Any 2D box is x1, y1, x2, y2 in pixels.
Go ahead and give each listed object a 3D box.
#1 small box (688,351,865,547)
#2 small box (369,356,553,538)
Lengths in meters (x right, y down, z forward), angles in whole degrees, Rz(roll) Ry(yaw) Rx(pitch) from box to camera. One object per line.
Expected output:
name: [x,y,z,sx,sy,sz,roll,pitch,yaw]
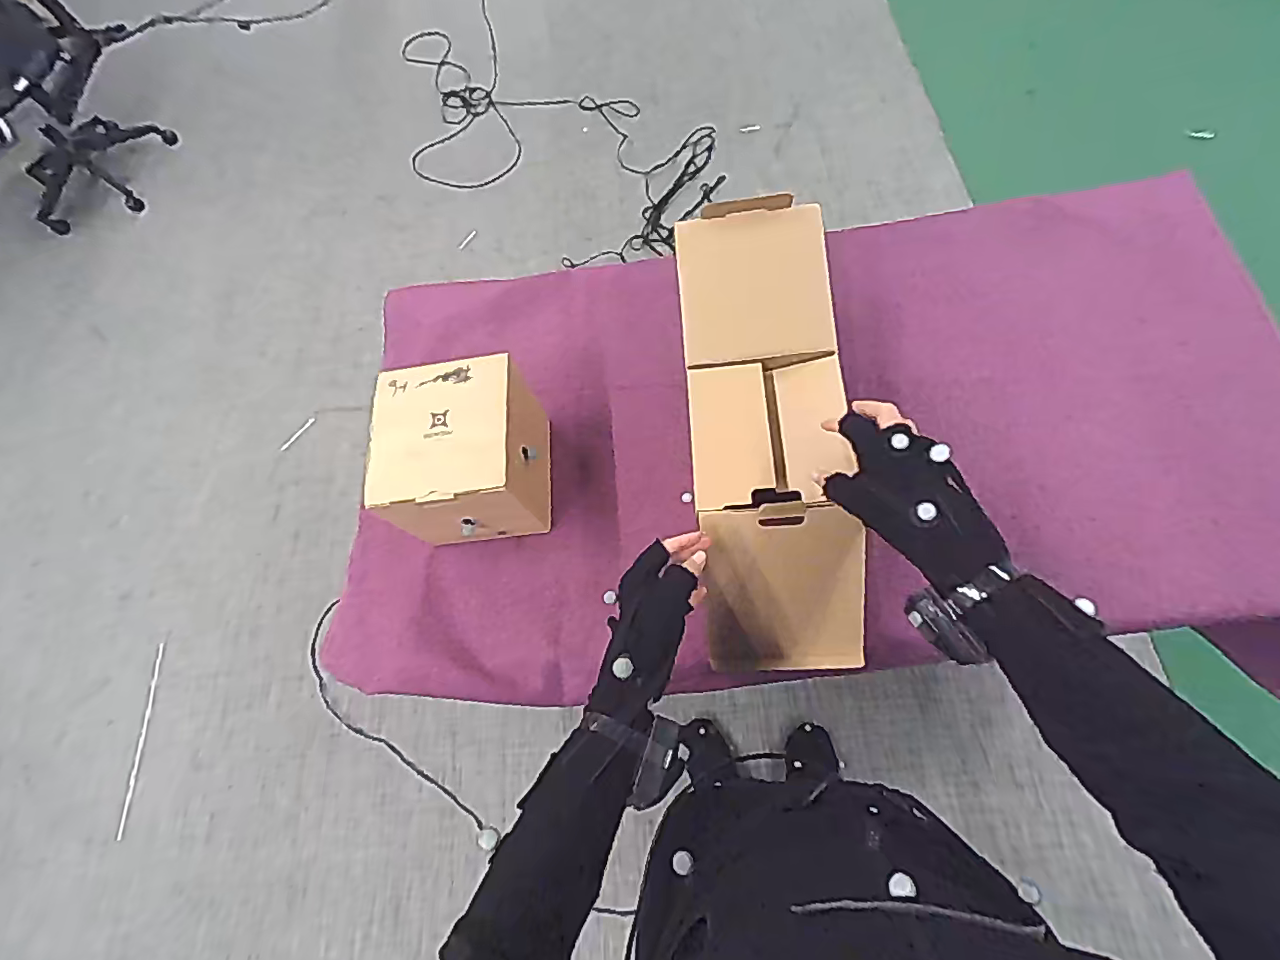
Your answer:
small box: [0.147,-0.023,0.631,0.168,0.176,0.179,-4,68,7]
small box: [-0.213,-0.029,0.690,0.168,0.176,0.179,-7,68,6]
